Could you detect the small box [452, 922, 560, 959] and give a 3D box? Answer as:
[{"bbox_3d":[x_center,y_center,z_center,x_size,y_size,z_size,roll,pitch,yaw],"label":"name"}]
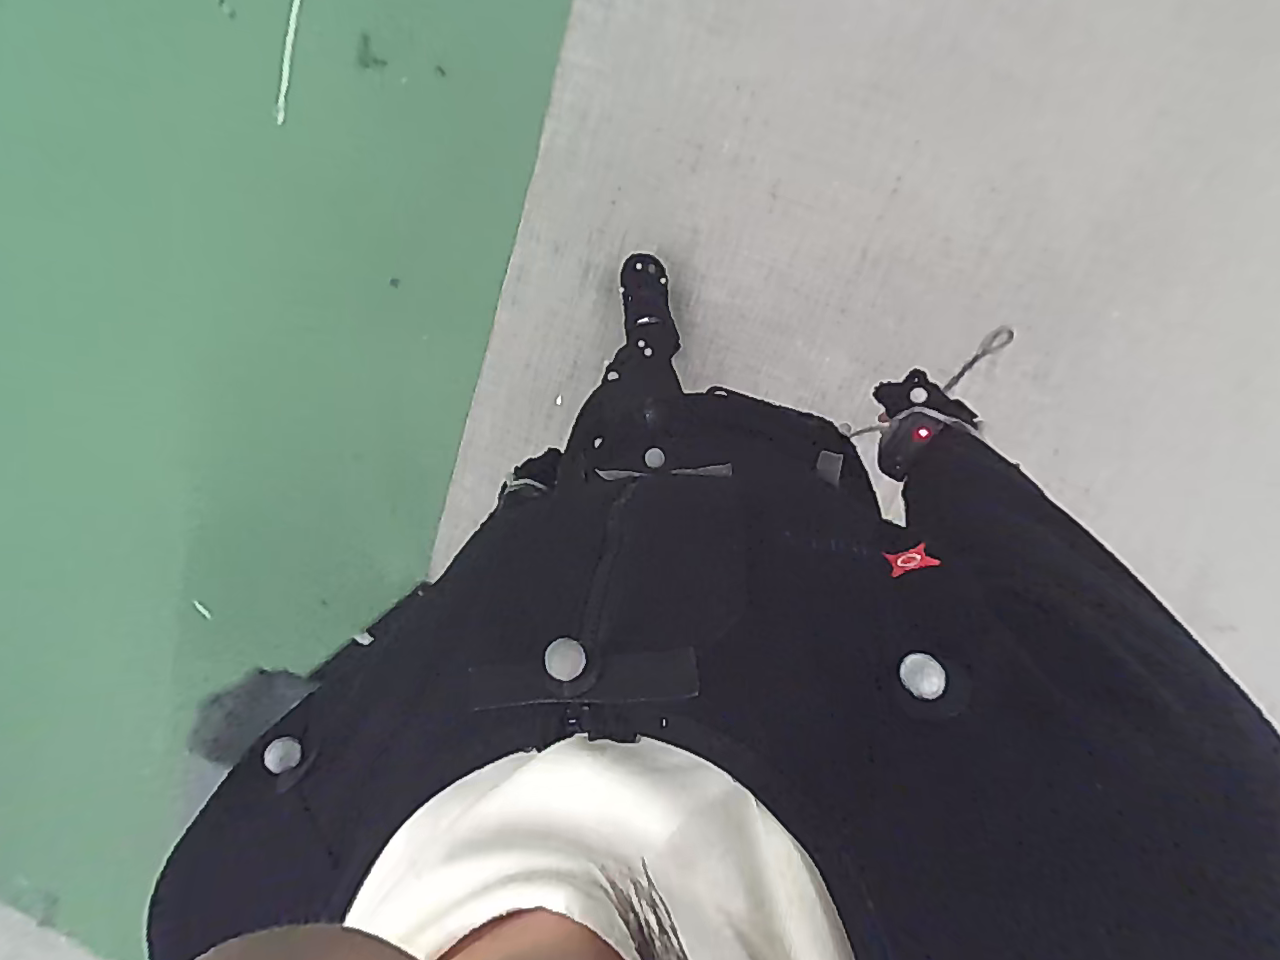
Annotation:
[{"bbox_3d":[-0.245,0.867,0.865,0.179,0.176,0.168,19,106,5],"label":"small box"}]
